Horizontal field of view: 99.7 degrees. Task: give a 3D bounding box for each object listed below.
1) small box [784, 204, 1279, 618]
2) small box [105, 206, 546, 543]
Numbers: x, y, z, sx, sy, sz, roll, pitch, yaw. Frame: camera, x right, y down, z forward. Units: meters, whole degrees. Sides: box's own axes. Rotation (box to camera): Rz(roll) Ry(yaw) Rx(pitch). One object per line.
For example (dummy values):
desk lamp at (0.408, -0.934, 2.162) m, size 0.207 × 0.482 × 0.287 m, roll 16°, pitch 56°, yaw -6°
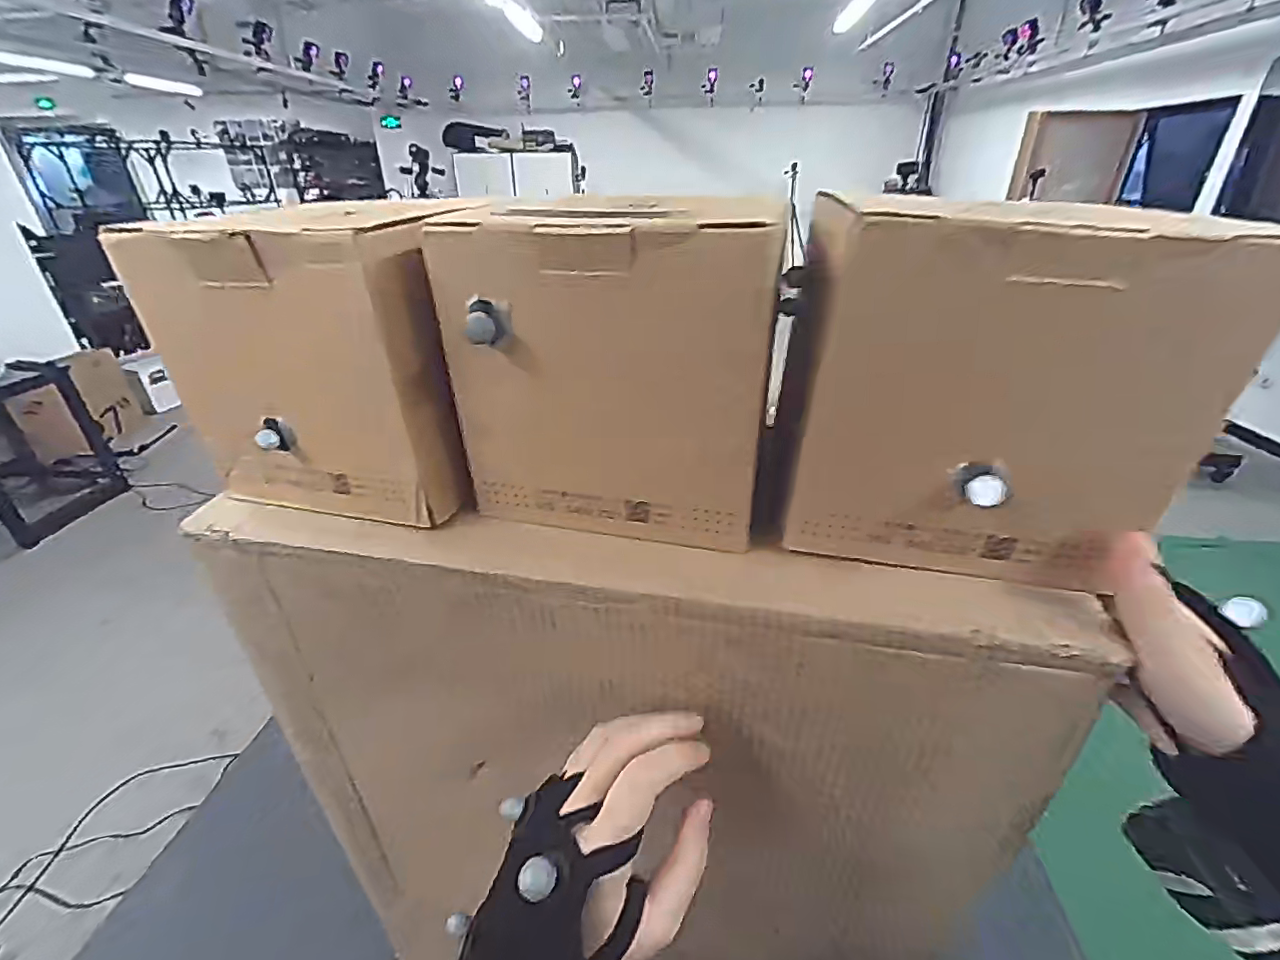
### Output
small box at (0.181, -0.053, 0.308) m, size 0.168 × 0.176 × 0.179 m, roll 7°, pitch 32°, yaw 8°
small box at (-0.173, -0.083, 0.366) m, size 0.168 × 0.176 × 0.179 m, roll 7°, pitch 33°, yaw 14°
